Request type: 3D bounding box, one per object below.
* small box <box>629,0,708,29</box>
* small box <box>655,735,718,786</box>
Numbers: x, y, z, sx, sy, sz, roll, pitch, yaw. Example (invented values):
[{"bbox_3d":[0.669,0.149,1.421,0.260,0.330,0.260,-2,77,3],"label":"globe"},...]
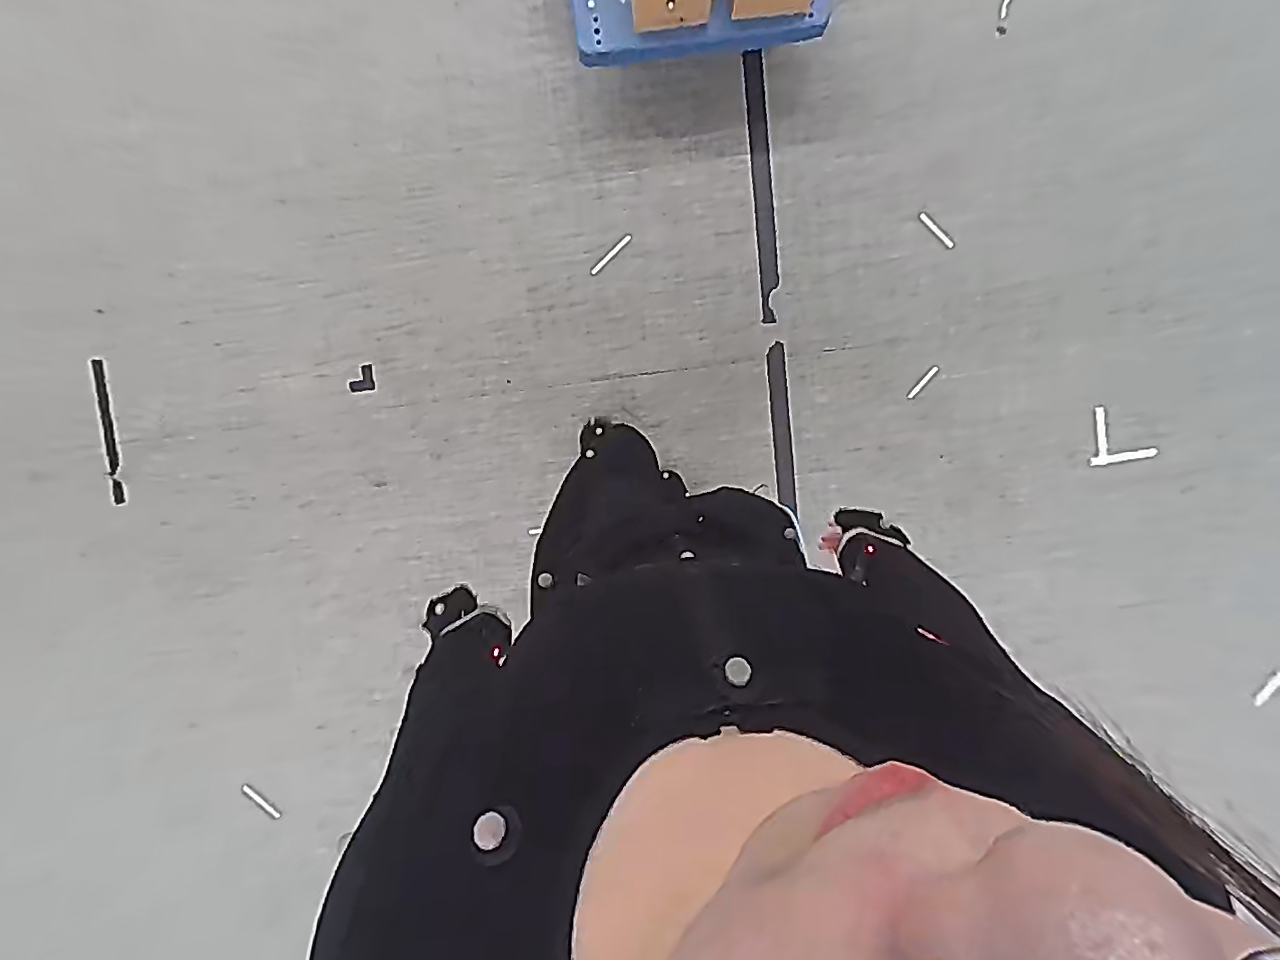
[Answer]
[{"bbox_3d":[0.055,-1.086,1.124,0.168,0.176,0.179,-8,94,1],"label":"small box"},{"bbox_3d":[0.131,0.831,1.480,0.168,0.176,0.179,-6,94,0],"label":"small box"}]
